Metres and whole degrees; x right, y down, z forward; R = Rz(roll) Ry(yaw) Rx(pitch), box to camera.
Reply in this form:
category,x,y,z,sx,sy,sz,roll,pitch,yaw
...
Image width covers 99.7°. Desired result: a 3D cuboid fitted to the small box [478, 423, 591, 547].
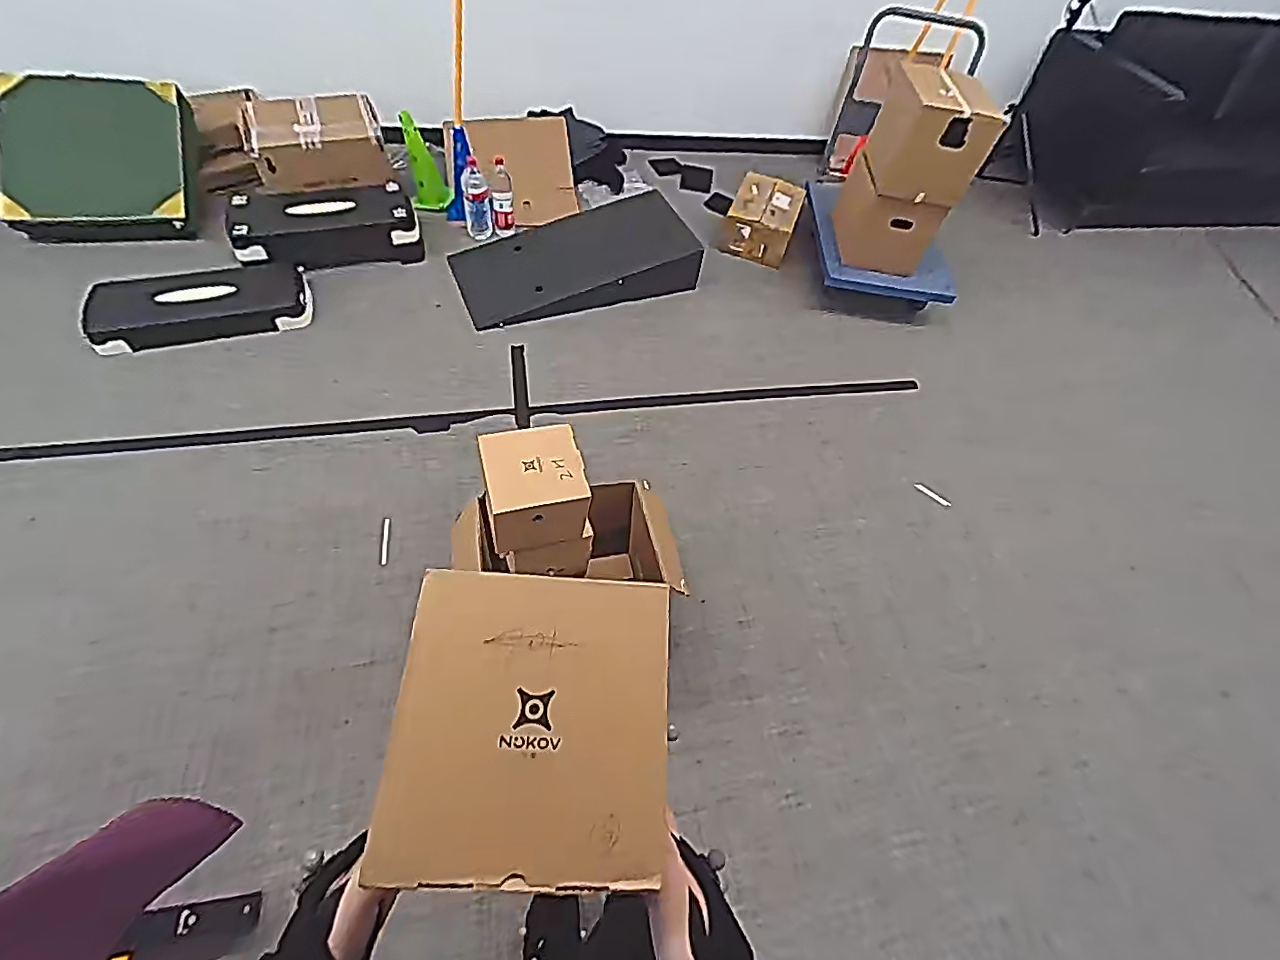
category,x,y,z,sx,sy,sz,roll,pitch,yaw
small box,-0.203,0.014,1.034,0.179,0.176,0.168,-9,62,-18

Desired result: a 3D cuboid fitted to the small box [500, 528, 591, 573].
category,x,y,z,sx,sy,sz,roll,pitch,yaw
small box,-0.239,0.164,1.326,0.179,0.176,0.168,-23,66,-25

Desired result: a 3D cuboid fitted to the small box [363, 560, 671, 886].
category,x,y,z,sx,sy,sz,roll,pitch,yaw
small box,-0.073,0.173,0.403,0.168,0.176,0.179,6,64,-5
